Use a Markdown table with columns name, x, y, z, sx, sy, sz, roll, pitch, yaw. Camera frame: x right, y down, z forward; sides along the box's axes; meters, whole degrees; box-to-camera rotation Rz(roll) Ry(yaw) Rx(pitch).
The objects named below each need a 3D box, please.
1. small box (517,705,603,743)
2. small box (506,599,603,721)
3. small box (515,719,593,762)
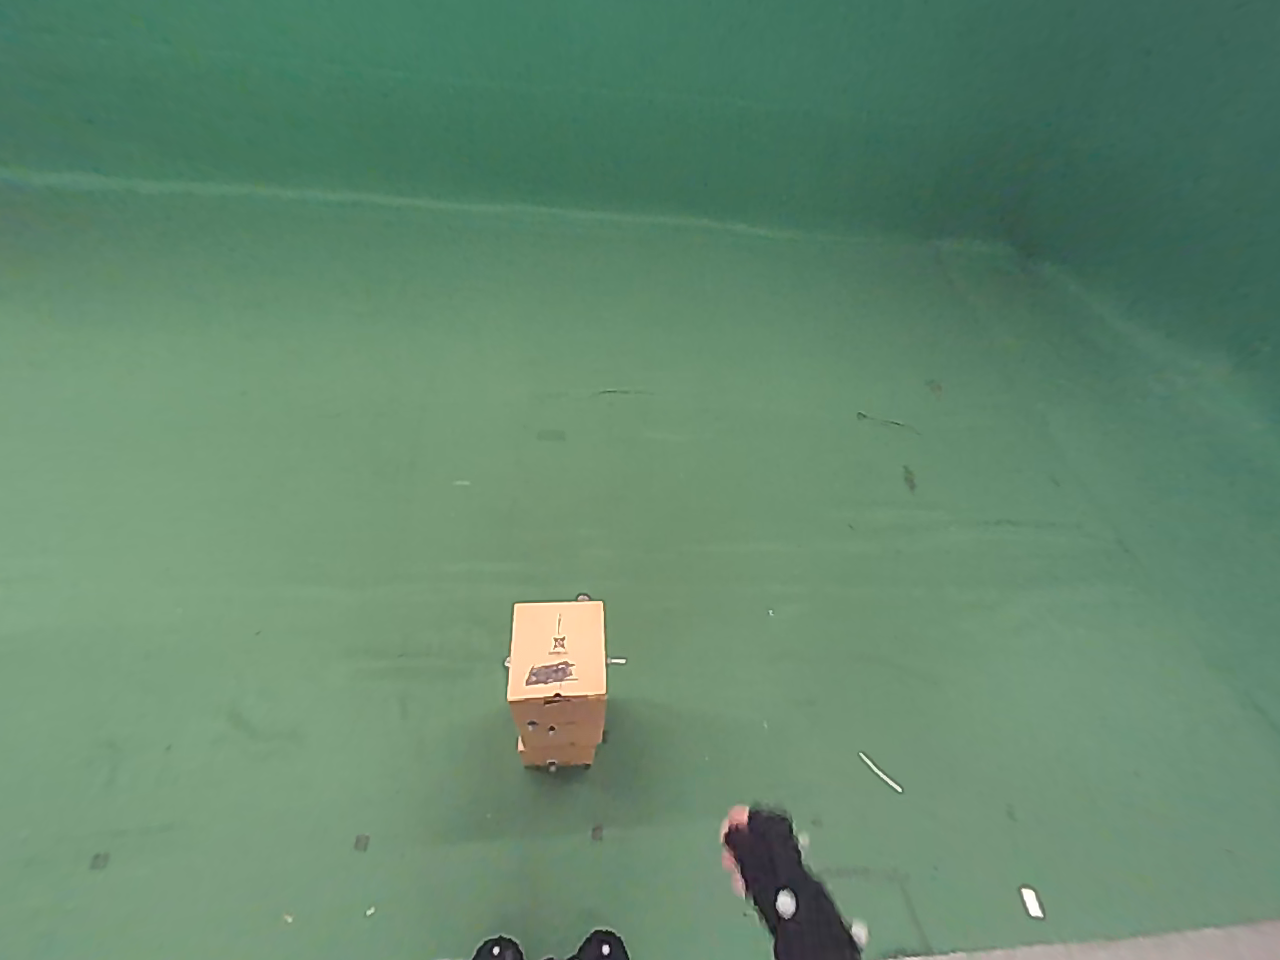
| name | x | y | z | sx | sy | sz | roll | pitch | yaw |
| --- | --- | --- | --- | --- | --- | --- | --- | --- | --- |
| small box | -0.165 | 0.442 | 1.140 | 0.168 | 0.176 | 0.179 | 0 | 51 | -7 |
| small box | -0.152 | 0.341 | 1.011 | 0.168 | 0.176 | 0.179 | 0 | 51 | -7 |
| small box | -0.189 | 0.537 | 1.249 | 0.168 | 0.176 | 0.179 | 1 | 52 | -4 |
